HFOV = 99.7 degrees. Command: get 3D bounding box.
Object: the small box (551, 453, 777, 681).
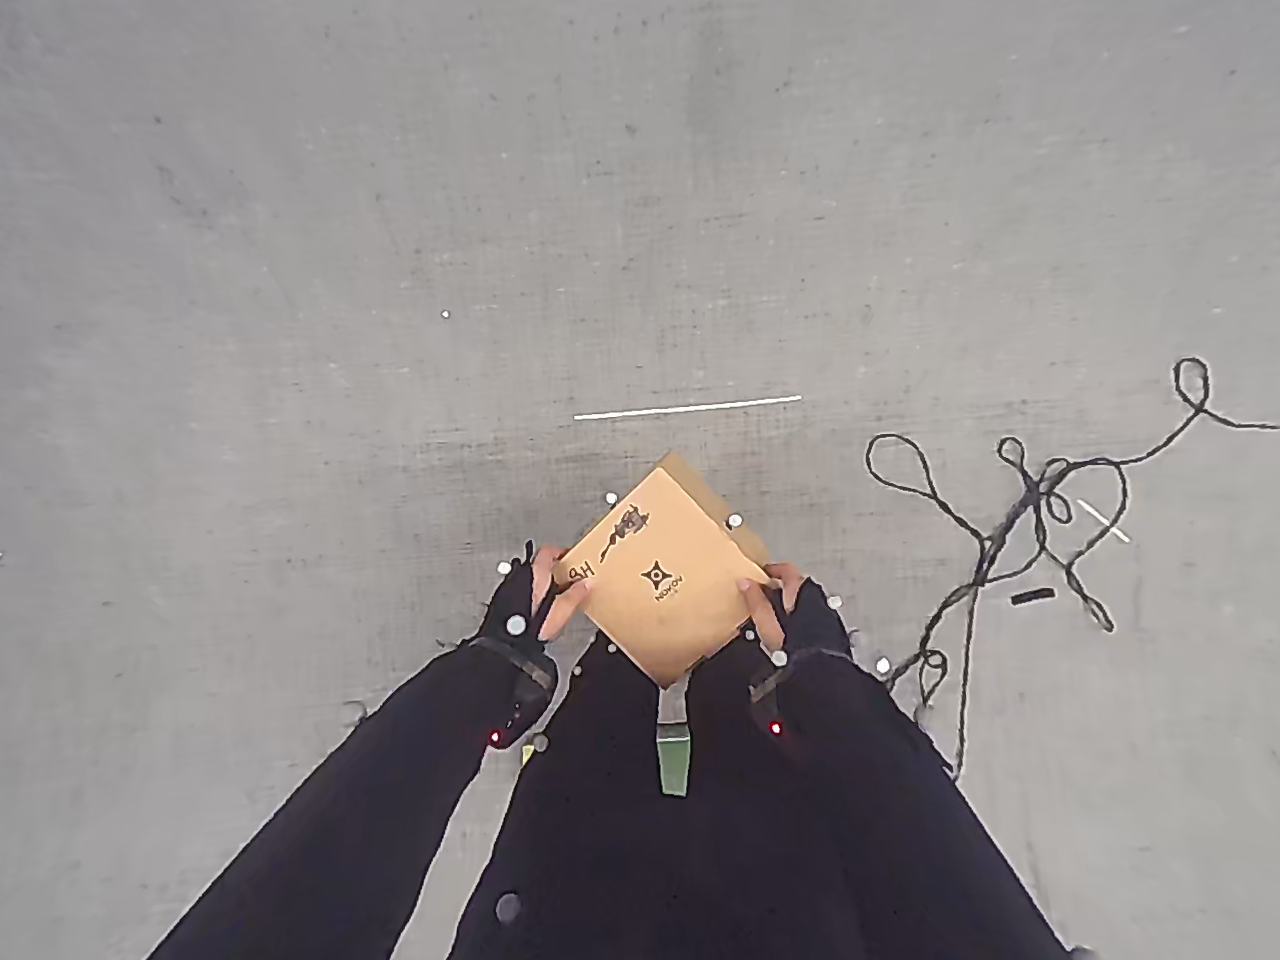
[{"bbox_3d":[0.032,0.085,0.628,0.168,0.176,0.179,-43,92,11],"label":"small box"}]
